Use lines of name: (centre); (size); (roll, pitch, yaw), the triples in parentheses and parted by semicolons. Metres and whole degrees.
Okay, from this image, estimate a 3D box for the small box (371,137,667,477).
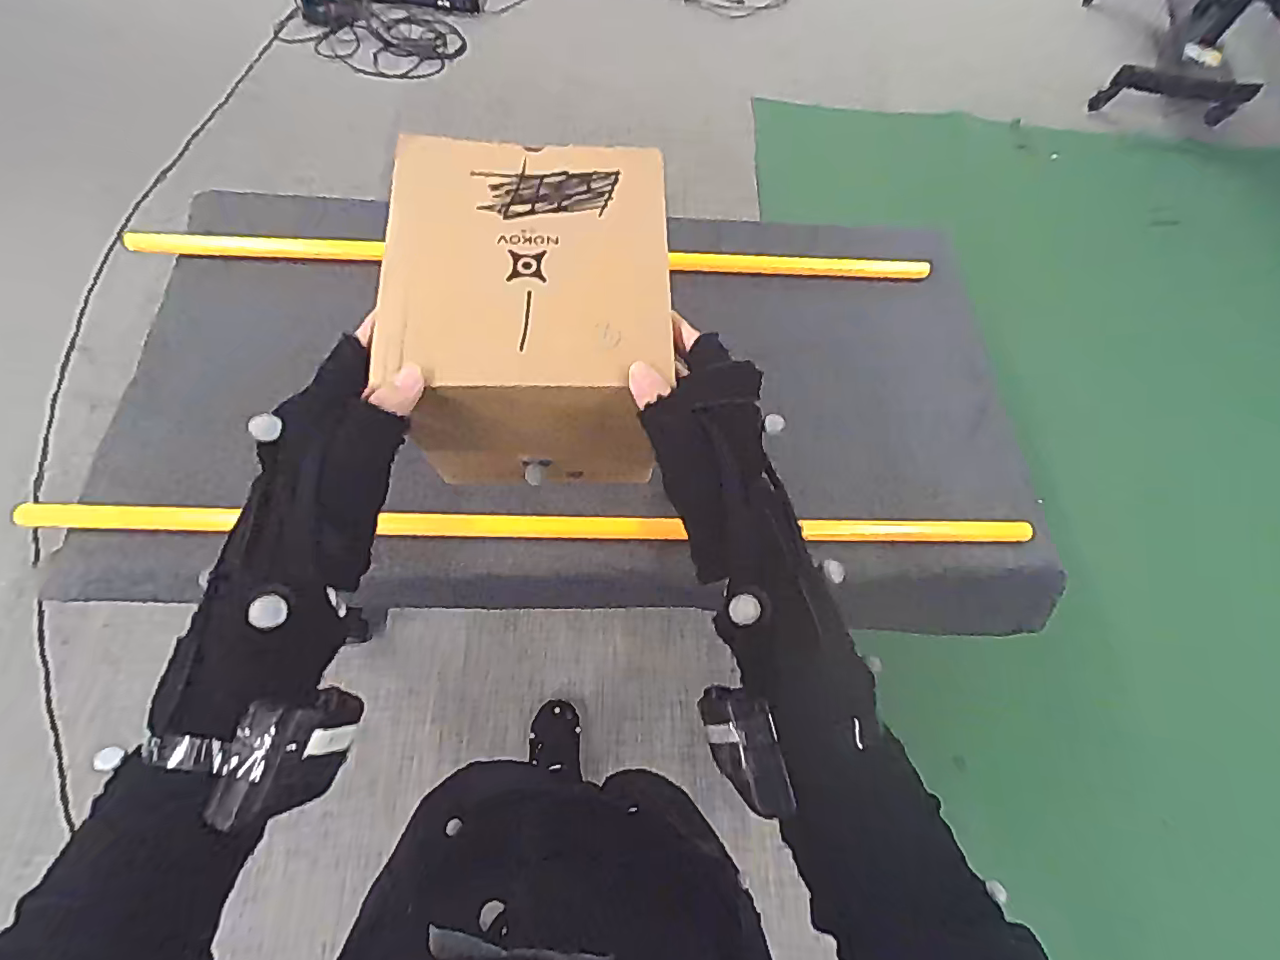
small box: (-0.074, -0.112, 0.402); (0.168, 0.176, 0.179); (0, 72, -5)
